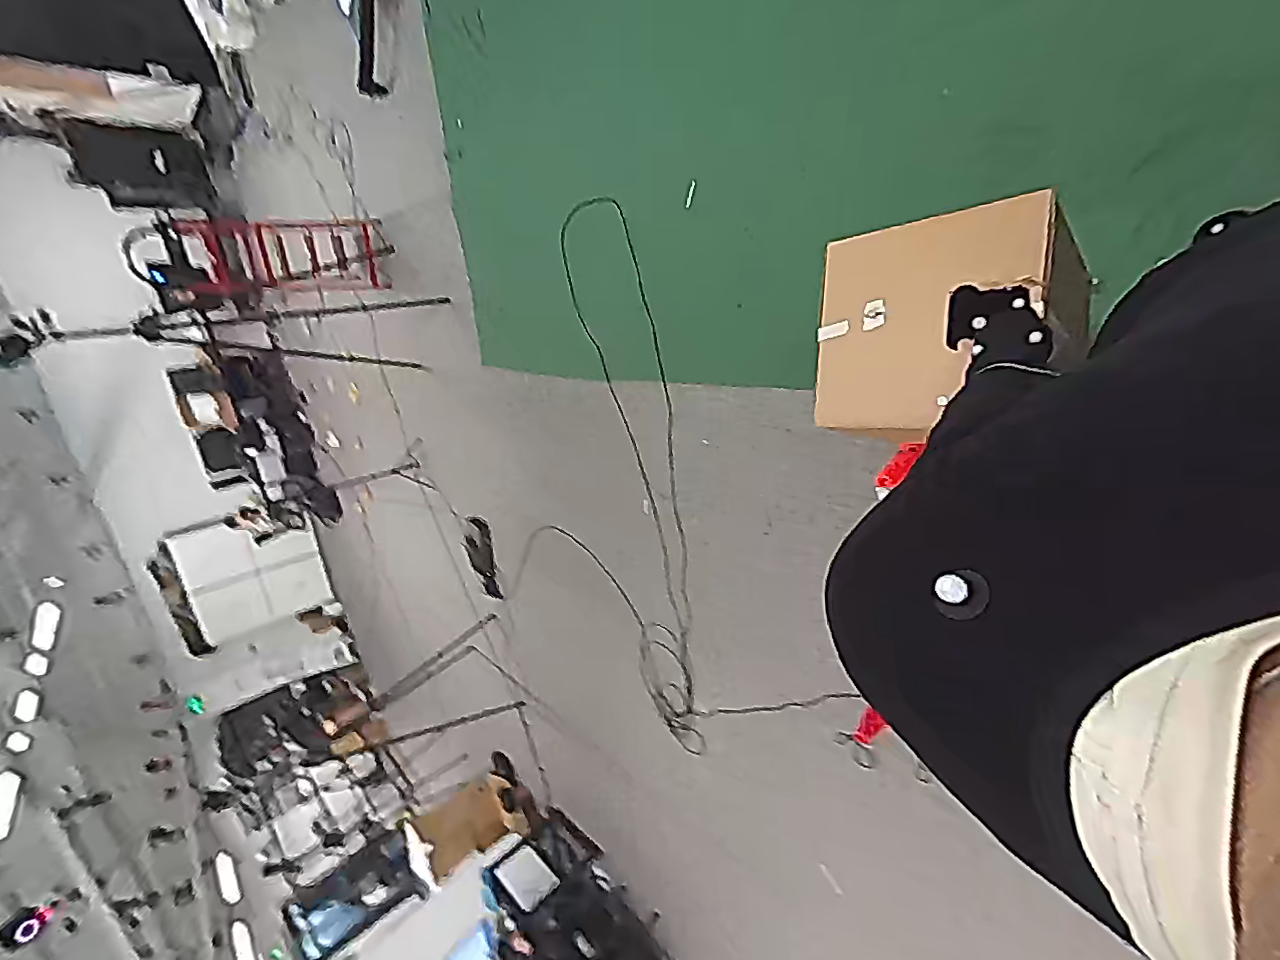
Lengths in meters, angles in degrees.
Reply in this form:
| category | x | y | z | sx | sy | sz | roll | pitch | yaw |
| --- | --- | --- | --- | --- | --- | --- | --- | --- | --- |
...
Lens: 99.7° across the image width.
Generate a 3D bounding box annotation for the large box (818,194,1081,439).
| category | x | y | z | sx | sy | sz | roll | pitch | yaw |
| --- | --- | --- | --- | --- | --- | --- | --- | --- | --- |
| large box | 0.549 | -0.235 | 0.954 | 0.320 | 0.408 | 0.320 | 6 | 94 | 44 |
